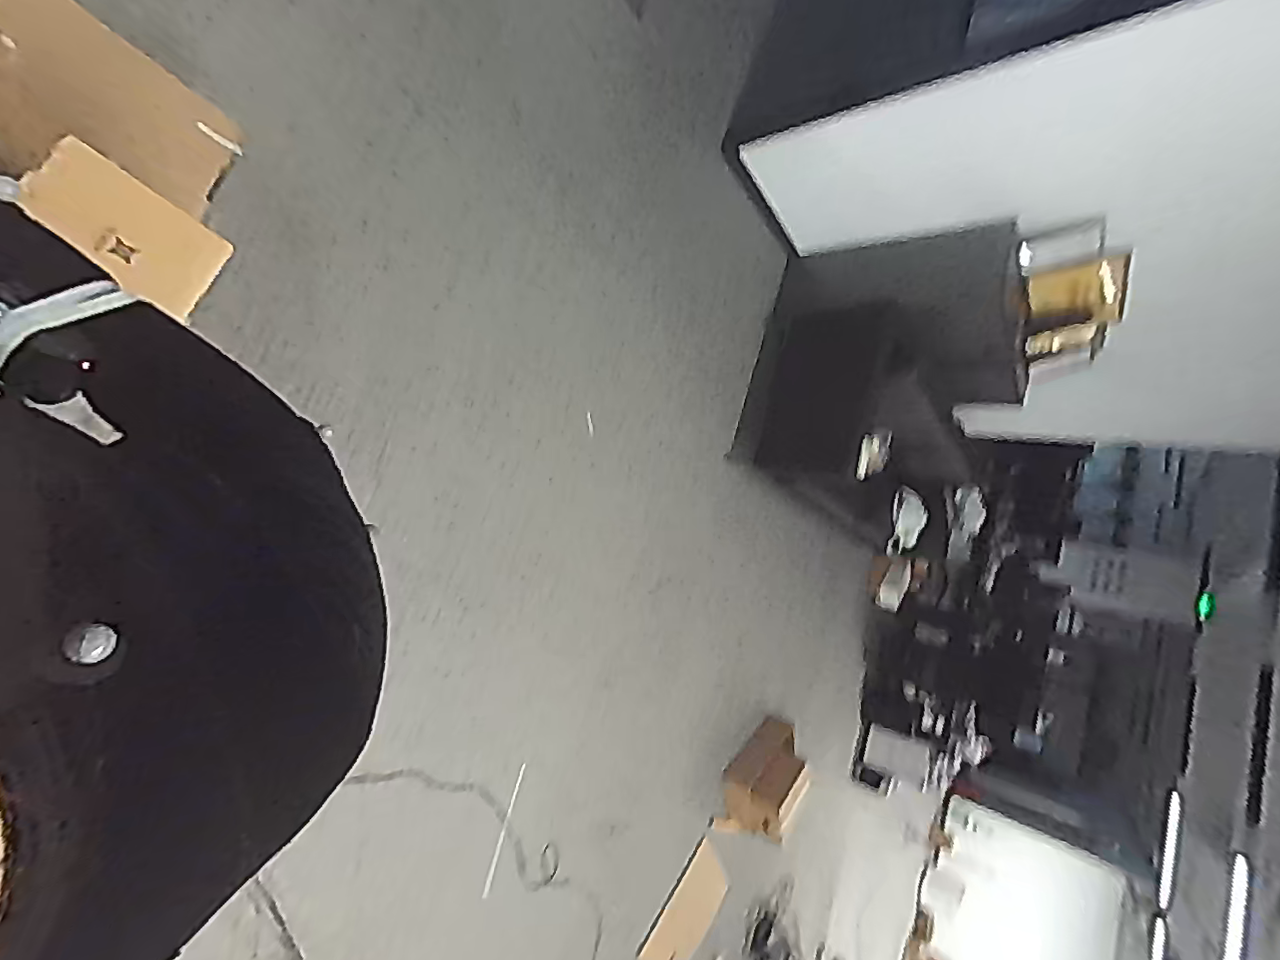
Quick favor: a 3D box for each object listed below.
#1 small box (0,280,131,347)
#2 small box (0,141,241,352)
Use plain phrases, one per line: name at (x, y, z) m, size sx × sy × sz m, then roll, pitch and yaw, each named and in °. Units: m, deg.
small box at (-0.798, -0.311, 0.790) m, size 0.168 × 0.176 × 0.179 m, roll 38°, pitch 66°, yaw -47°
small box at (-0.670, -0.282, 0.692) m, size 0.179 × 0.176 × 0.168 m, roll 38°, pitch 67°, yaw -46°
